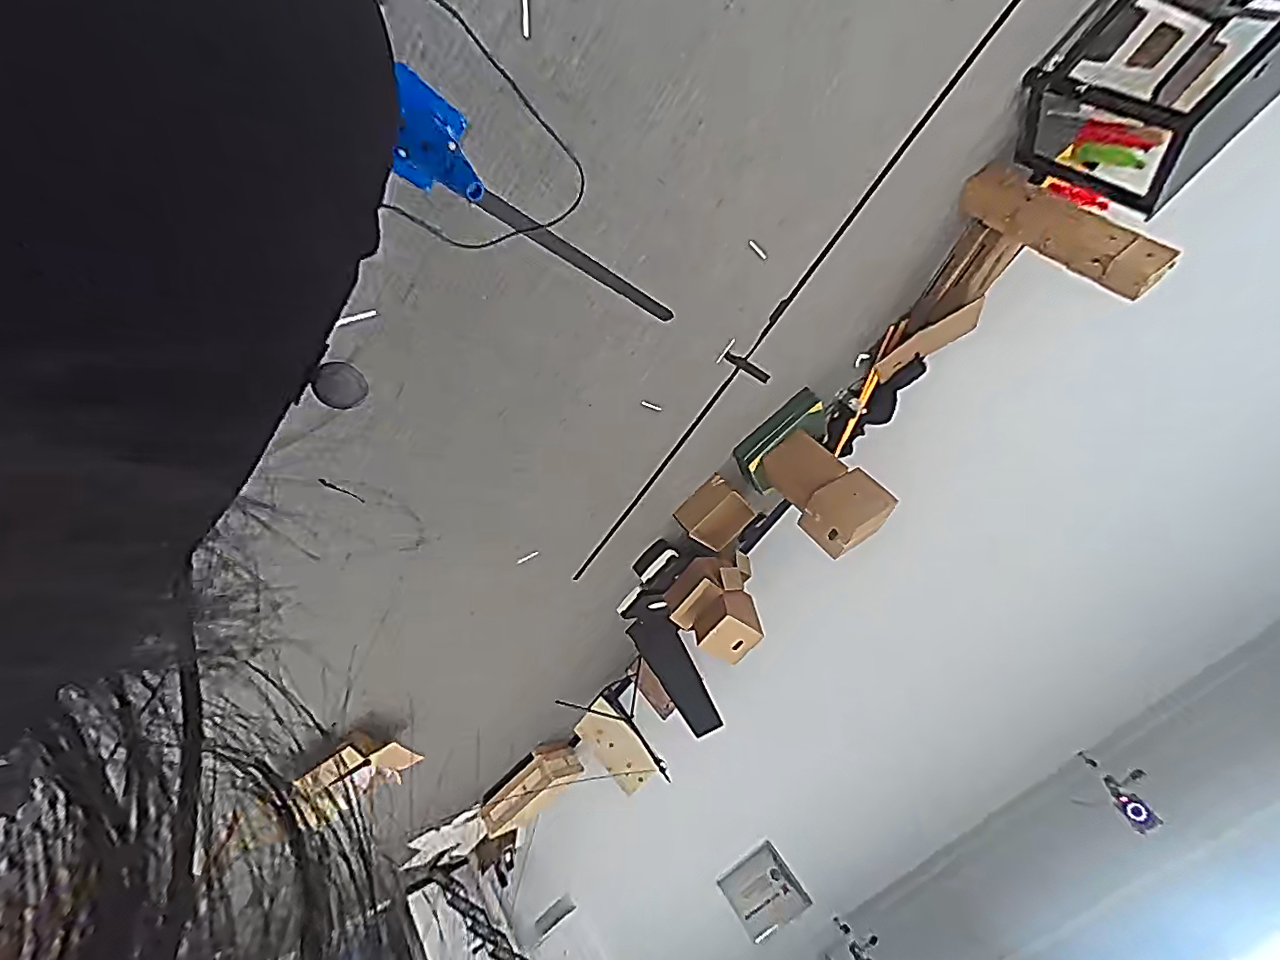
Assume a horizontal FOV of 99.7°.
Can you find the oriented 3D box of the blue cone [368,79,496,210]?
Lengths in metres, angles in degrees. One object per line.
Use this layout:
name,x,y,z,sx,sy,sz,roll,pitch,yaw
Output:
blue cone,-0.413,-0.669,1.150,0.193,0.380,0.192,-52,148,17
